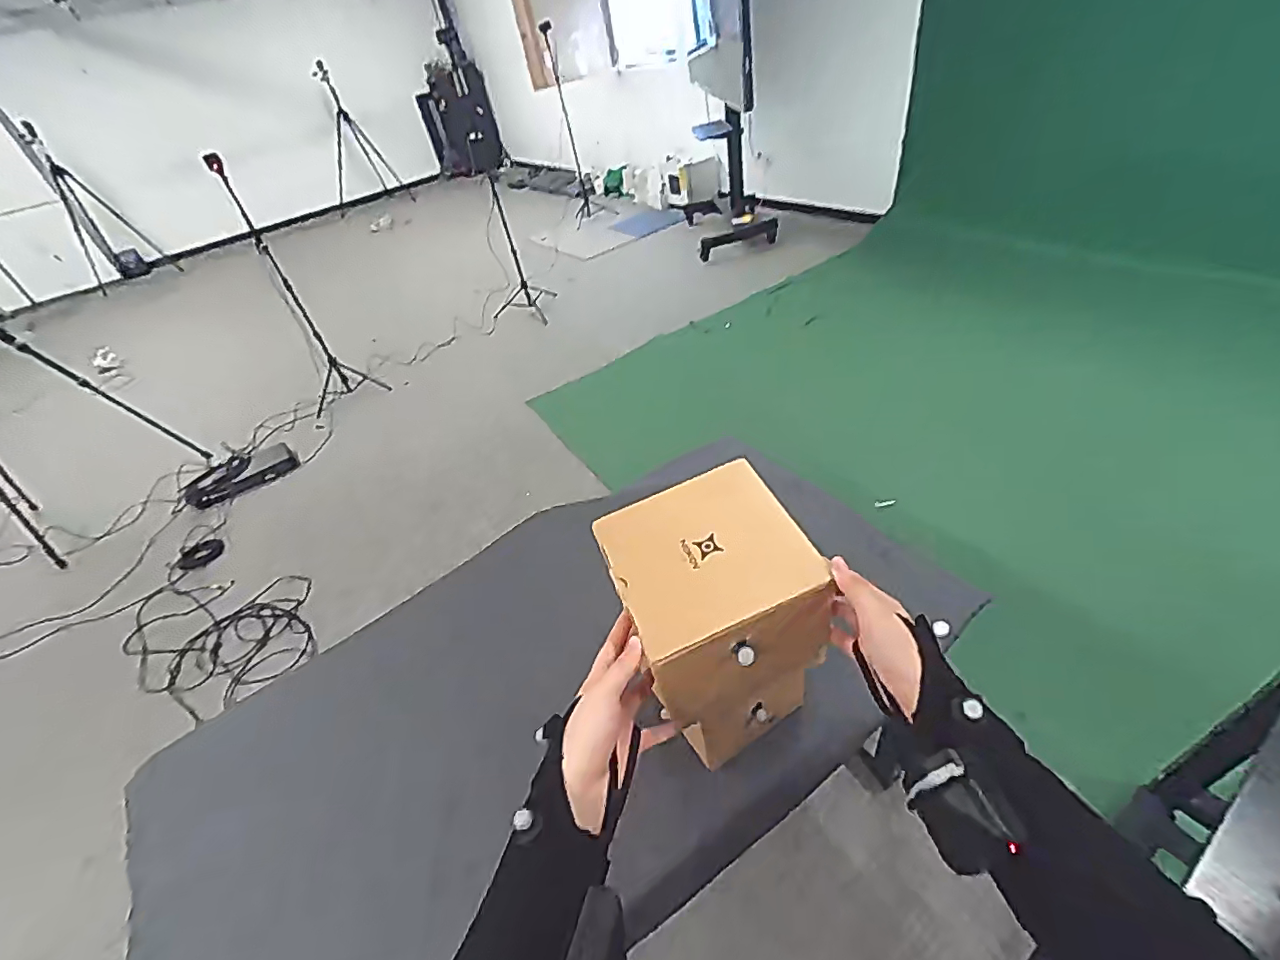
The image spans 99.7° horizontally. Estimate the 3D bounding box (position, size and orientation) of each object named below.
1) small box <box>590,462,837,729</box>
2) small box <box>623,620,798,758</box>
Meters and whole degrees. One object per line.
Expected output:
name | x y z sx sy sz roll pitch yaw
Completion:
small box | 0.072 0.119 0.545 0.179 0.176 0.168 -24 48 -5
small box | 0.102 0.250 0.746 0.168 0.176 0.179 -29 42 -17
